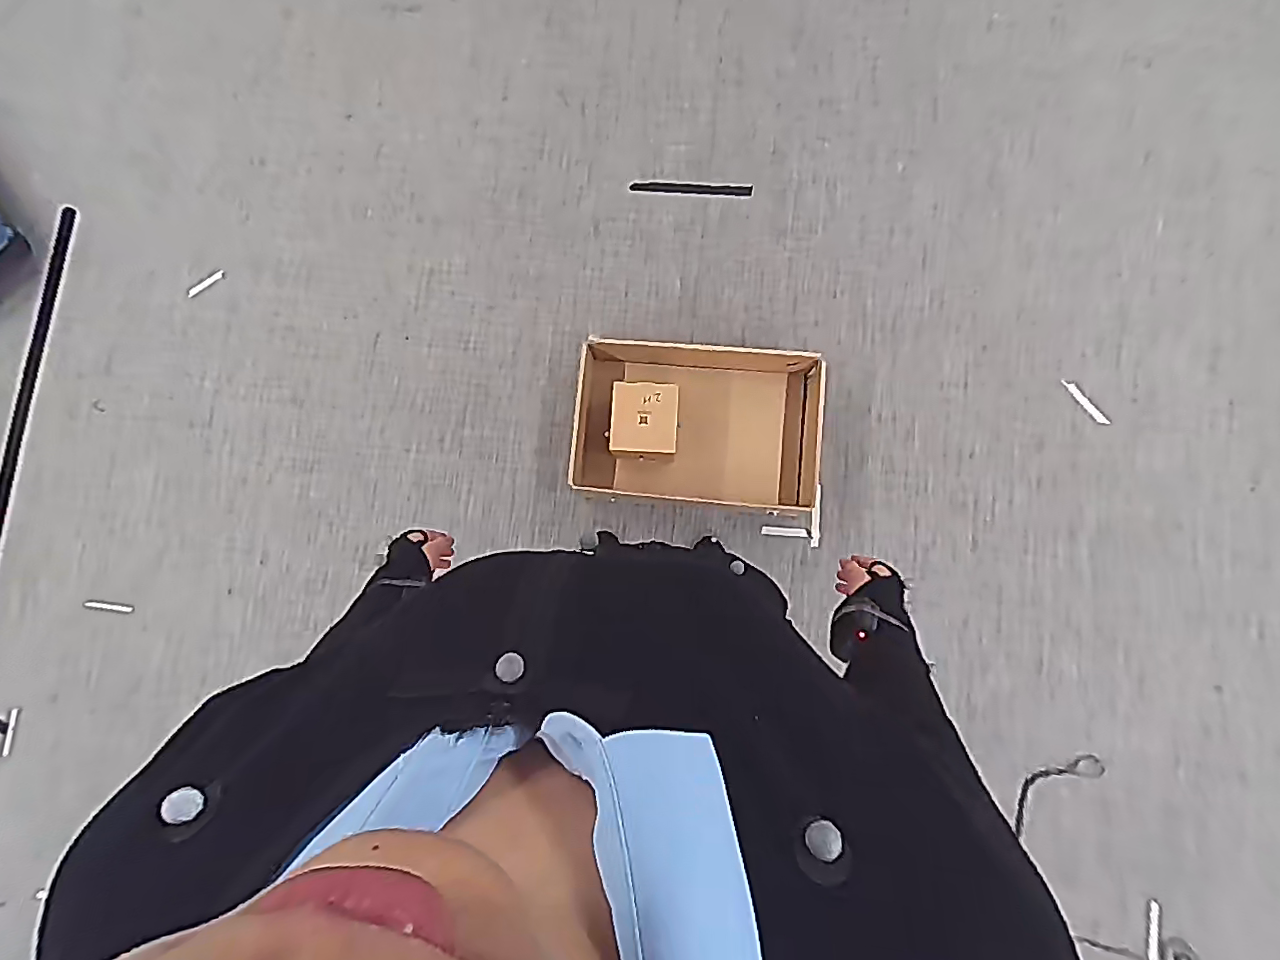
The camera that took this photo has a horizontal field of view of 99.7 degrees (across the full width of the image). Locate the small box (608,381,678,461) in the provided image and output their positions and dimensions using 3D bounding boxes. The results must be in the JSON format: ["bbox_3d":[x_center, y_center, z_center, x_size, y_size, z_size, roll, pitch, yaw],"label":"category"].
[{"bbox_3d":[0.013,-0.147,1.412,0.168,0.176,0.179,3,84,3],"label":"small box"}]
